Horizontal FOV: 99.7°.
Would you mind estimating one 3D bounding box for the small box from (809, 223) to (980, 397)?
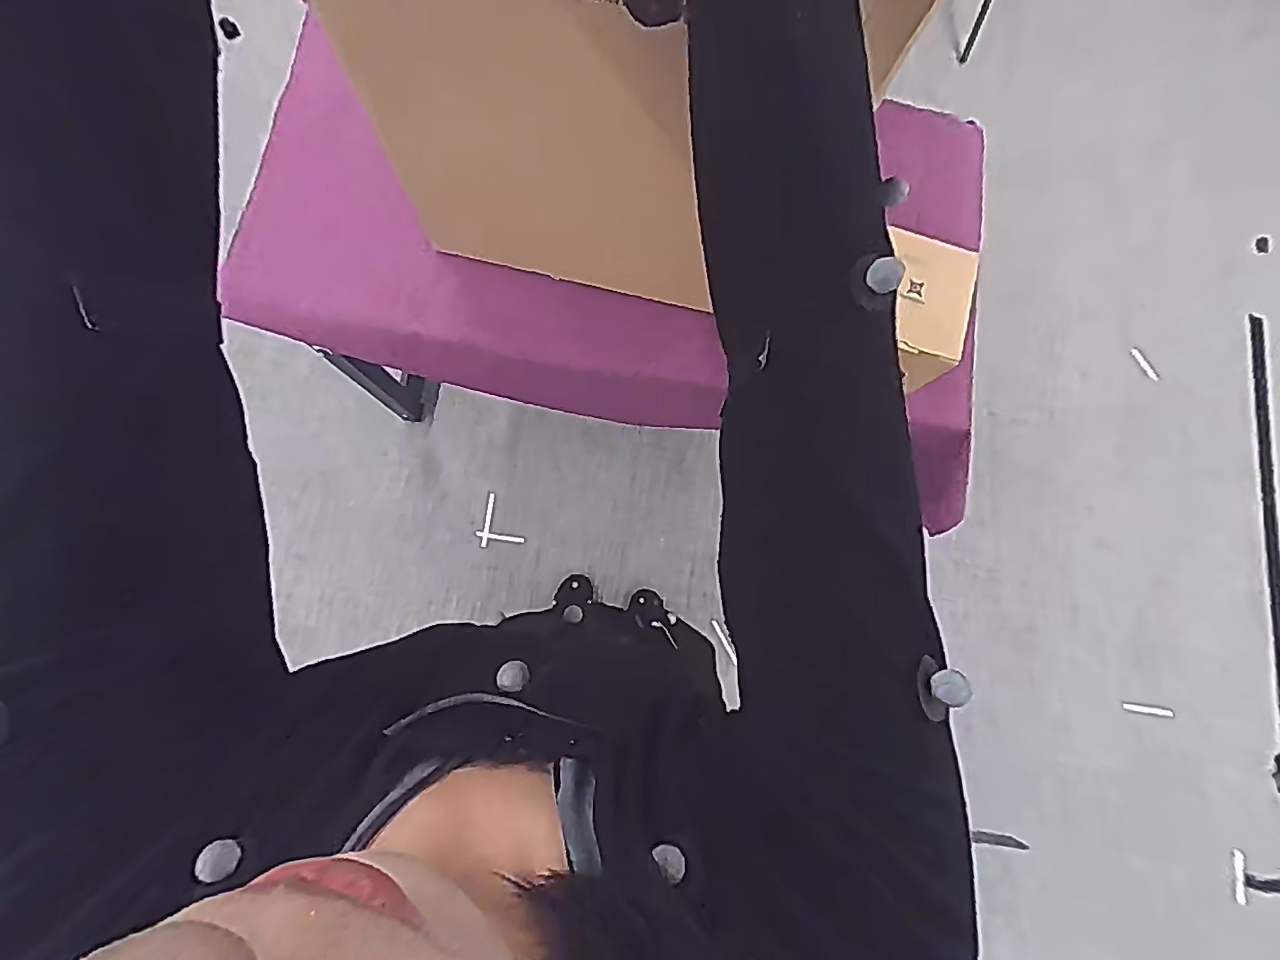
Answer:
[{"bbox_3d":[0.377,-0.247,0.830,0.168,0.176,0.179,17,78,-2],"label":"small box"}]
